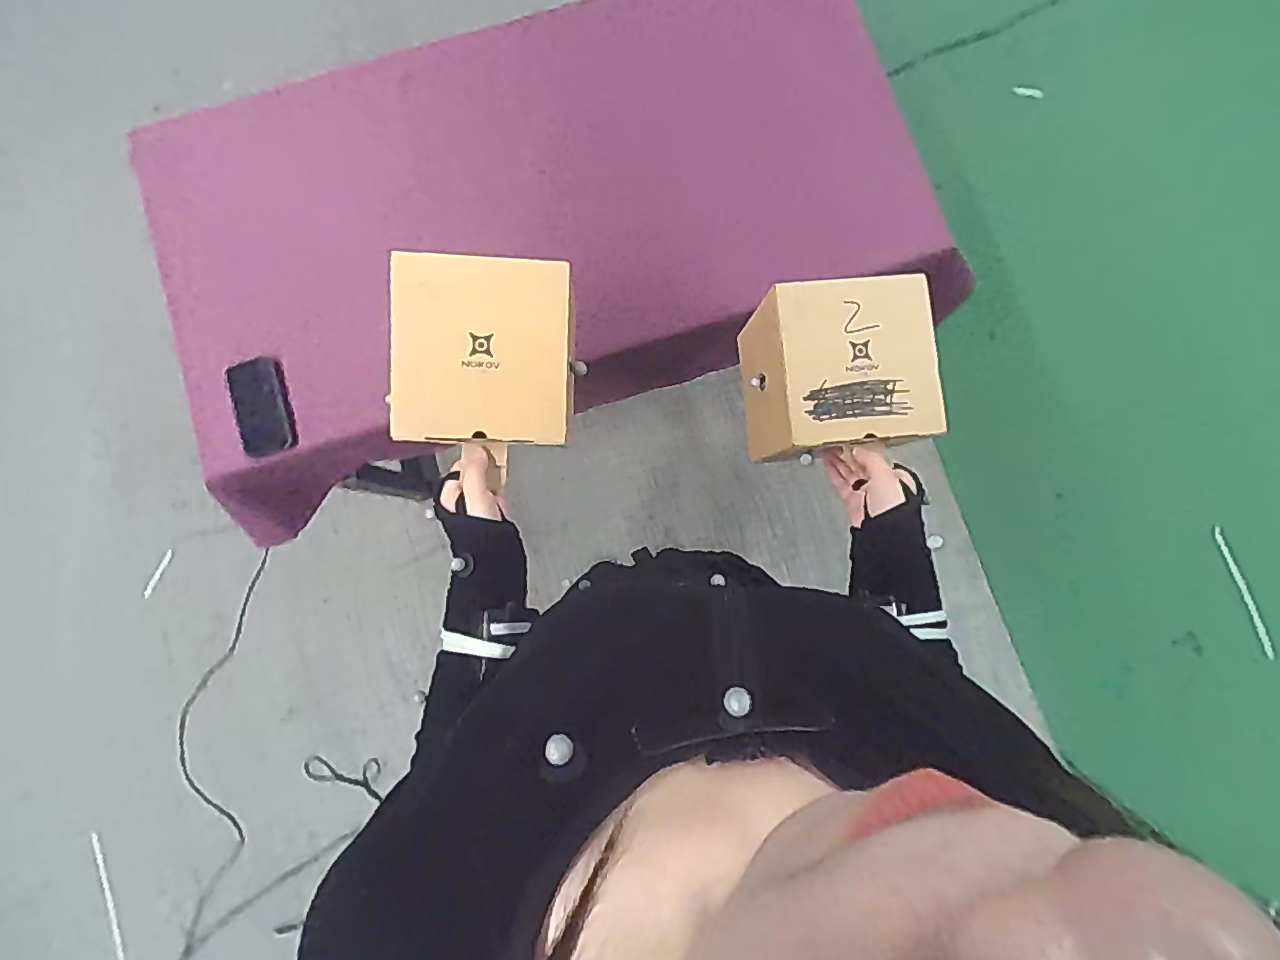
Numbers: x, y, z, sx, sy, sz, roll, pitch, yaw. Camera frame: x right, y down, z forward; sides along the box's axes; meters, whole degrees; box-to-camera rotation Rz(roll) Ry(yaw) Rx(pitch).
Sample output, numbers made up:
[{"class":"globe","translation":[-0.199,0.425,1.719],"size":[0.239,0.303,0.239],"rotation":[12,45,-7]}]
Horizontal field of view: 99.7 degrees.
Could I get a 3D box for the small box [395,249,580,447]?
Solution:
[{"class":"small box","translation":[-0.153,-0.128,0.588],"size":[0.168,0.176,0.179],"rotation":[2,94,-6]}]
